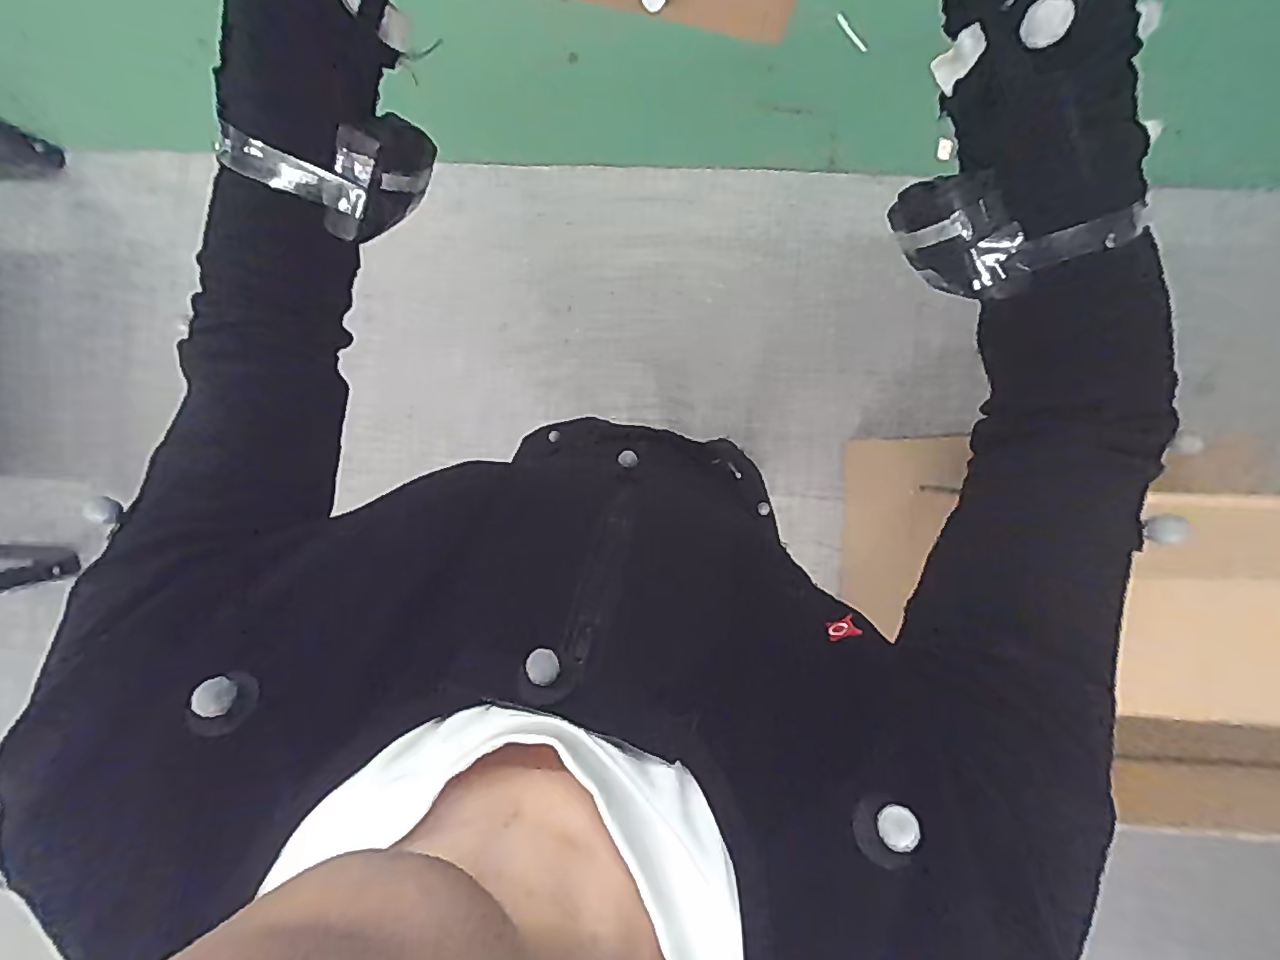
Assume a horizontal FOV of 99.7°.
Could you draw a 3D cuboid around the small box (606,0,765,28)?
[{"bbox_3d":[0.018,-0.380,0.271,0.179,0.176,0.168,11,98,-2],"label":"small box"}]
